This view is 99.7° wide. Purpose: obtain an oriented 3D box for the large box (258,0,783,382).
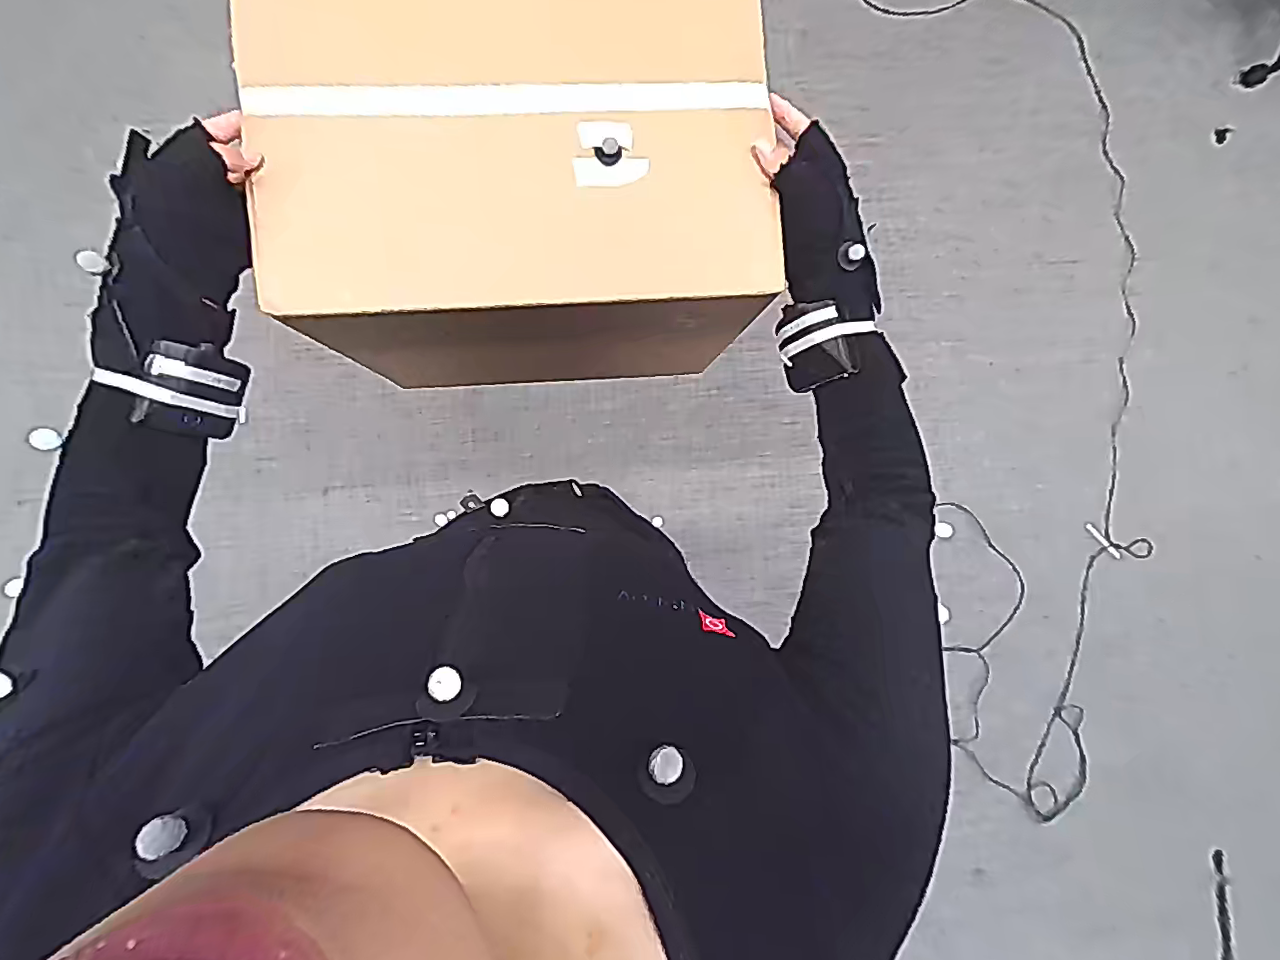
[{"bbox_3d":[-0.107,-0.300,0.582,0.408,0.320,0.320,-5,90,-6],"label":"large box"}]
